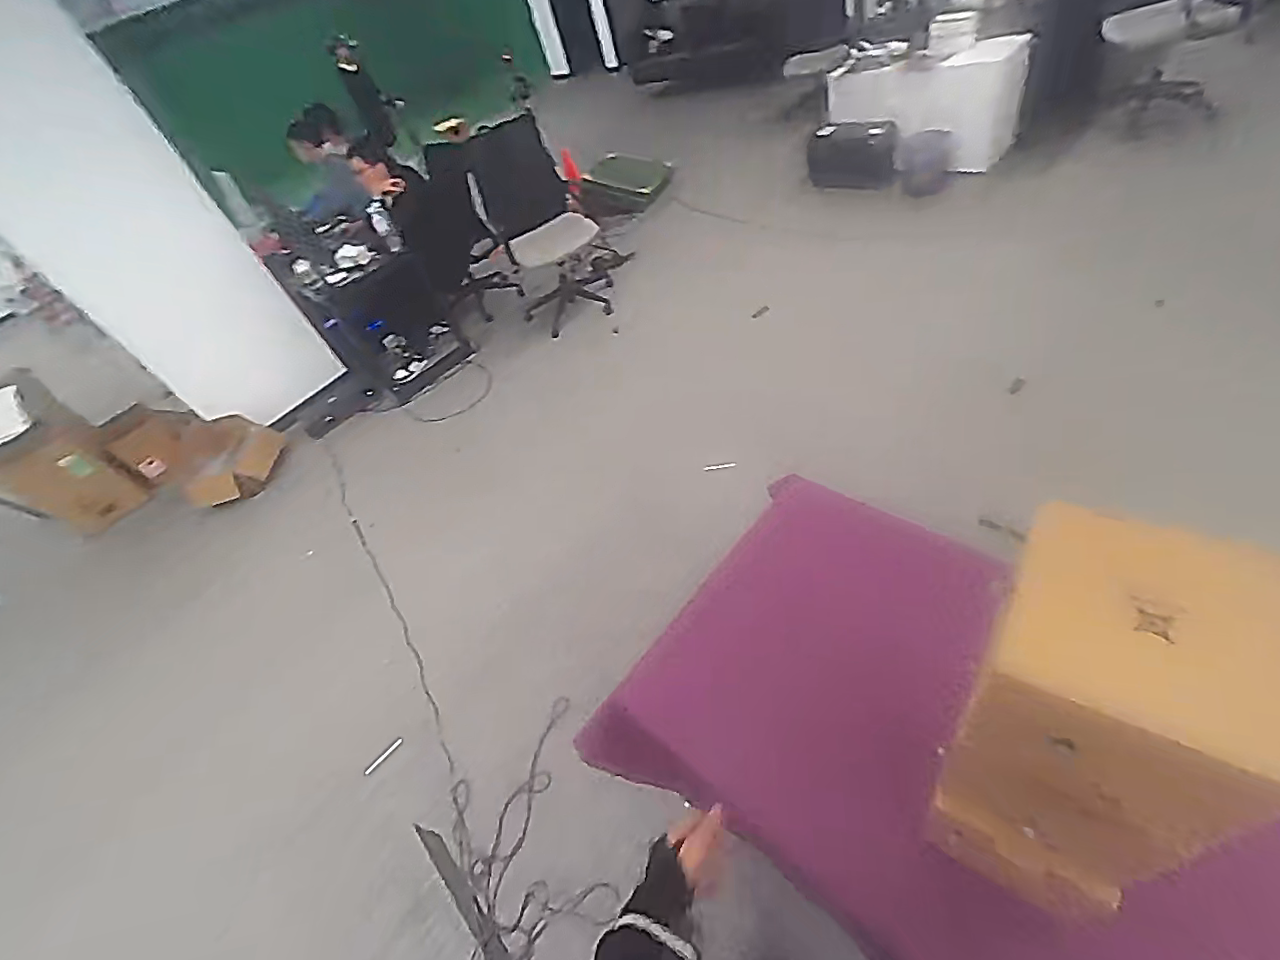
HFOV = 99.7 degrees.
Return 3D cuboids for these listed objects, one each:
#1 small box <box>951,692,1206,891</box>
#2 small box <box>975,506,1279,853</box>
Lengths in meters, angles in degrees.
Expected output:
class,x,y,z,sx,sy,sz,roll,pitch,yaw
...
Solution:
class,x,y,z,sx,sy,sz,roll,pitch,yaw
small box,0.436,0.265,0.547,0.168,0.176,0.179,21,57,36
small box,0.389,0.156,0.436,0.168,0.176,0.179,18,55,34
